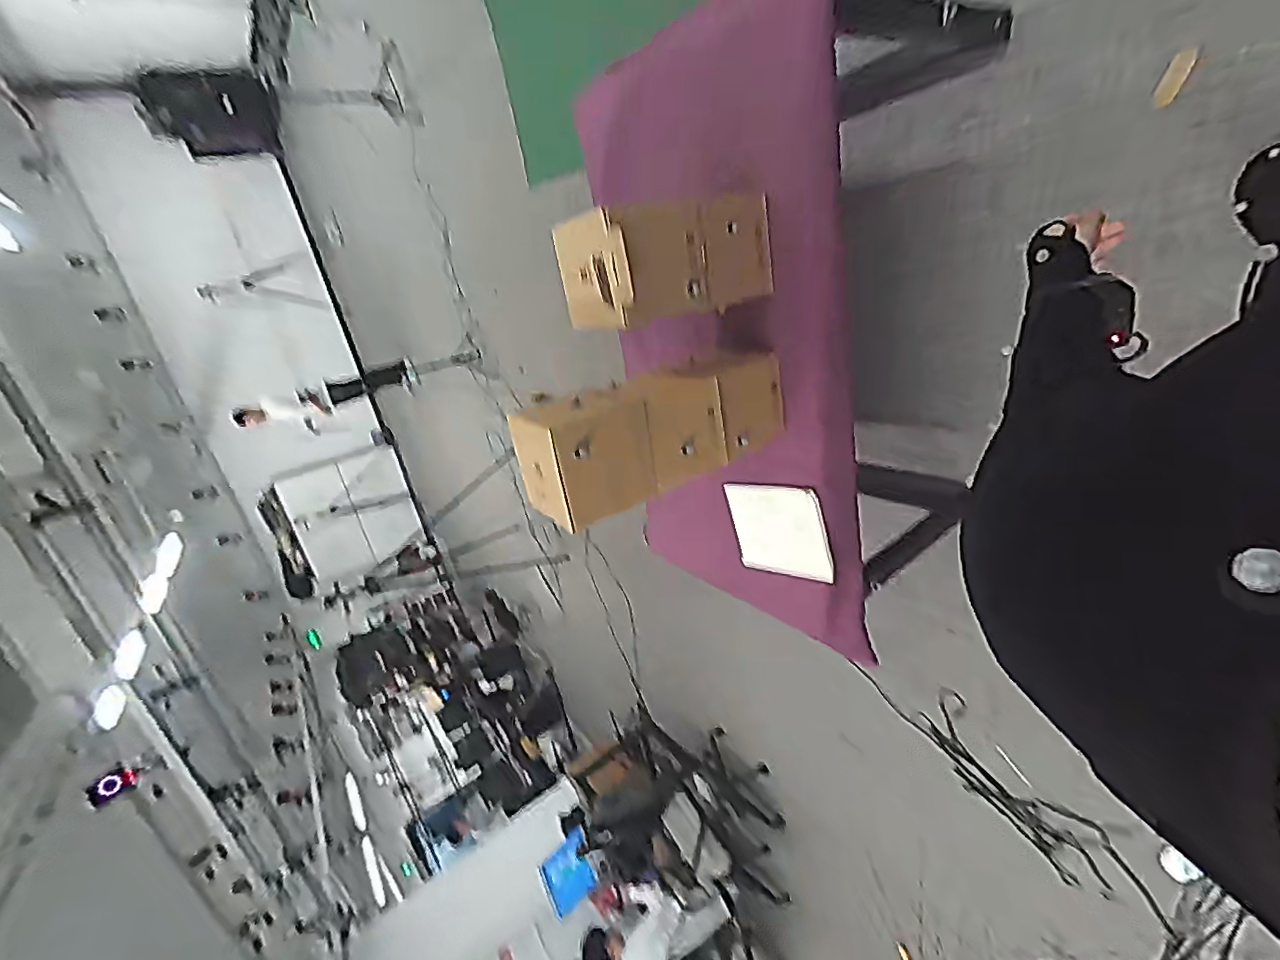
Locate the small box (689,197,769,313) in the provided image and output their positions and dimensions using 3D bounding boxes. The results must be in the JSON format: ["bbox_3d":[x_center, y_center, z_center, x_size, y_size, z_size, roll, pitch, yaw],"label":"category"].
[{"bbox_3d":[0.118,-0.401,0.975,0.179,0.176,0.168,20,127,52],"label":"small box"}]

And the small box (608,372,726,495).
[{"bbox_3d":[0.043,-0.094,0.988,0.179,0.176,0.168,21,128,53],"label":"small box"}]

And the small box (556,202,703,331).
[{"bbox_3d":[-0.011,-0.347,0.890,0.179,0.176,0.168,19,126,54],"label":"small box"}]

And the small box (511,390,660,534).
[{"bbox_3d":[-0.087,-0.041,0.900,0.168,0.176,0.179,24,131,52],"label":"small box"}]
